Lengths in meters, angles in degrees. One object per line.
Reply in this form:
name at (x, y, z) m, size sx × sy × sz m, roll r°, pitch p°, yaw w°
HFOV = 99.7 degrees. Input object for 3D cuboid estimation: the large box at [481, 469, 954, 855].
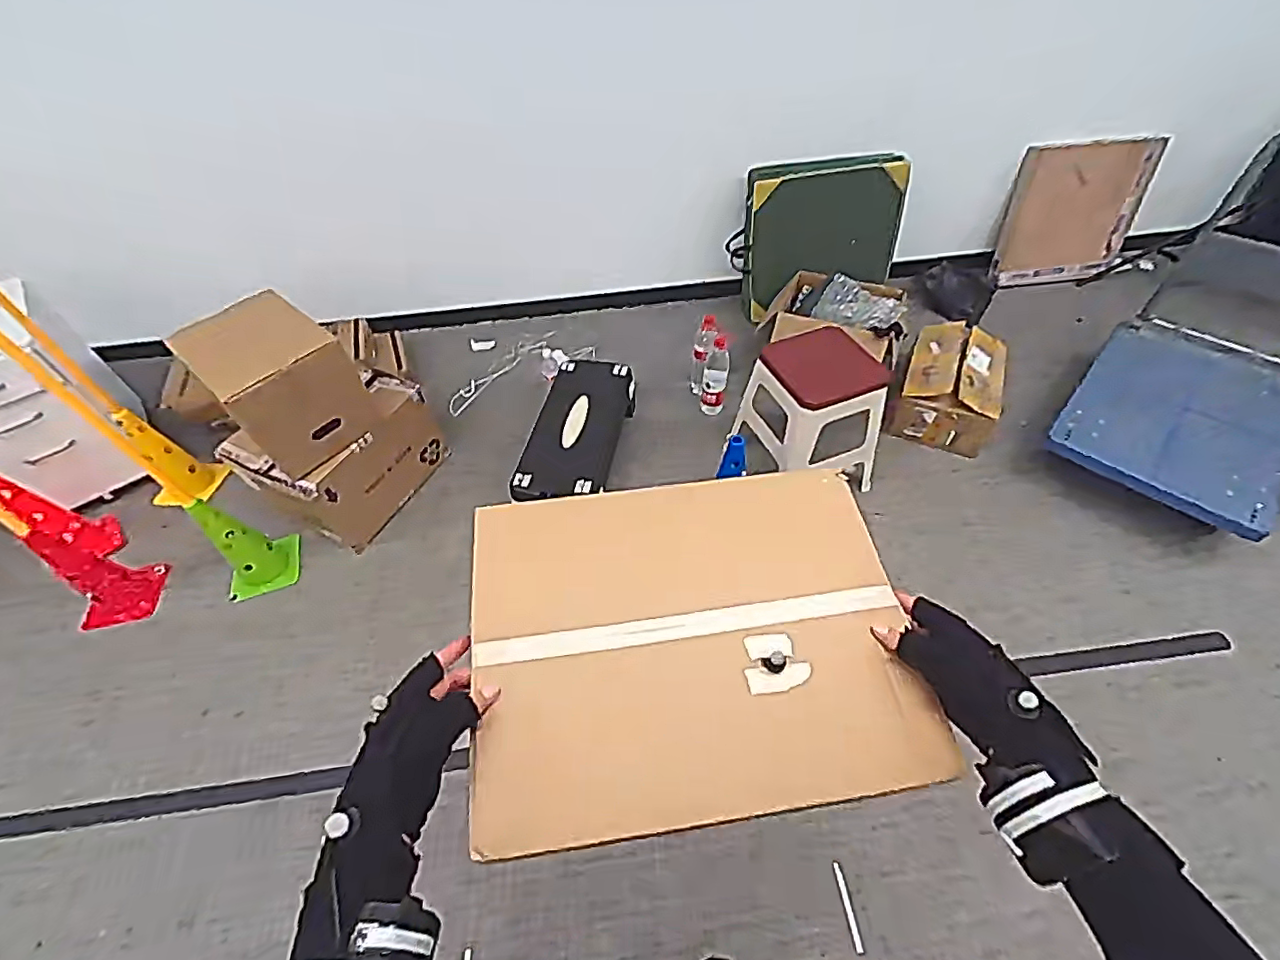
large box at (0.045, 0.218, 0.639) m, size 0.408 × 0.320 × 0.320 m, roll -6°, pitch 58°, yaw -6°
